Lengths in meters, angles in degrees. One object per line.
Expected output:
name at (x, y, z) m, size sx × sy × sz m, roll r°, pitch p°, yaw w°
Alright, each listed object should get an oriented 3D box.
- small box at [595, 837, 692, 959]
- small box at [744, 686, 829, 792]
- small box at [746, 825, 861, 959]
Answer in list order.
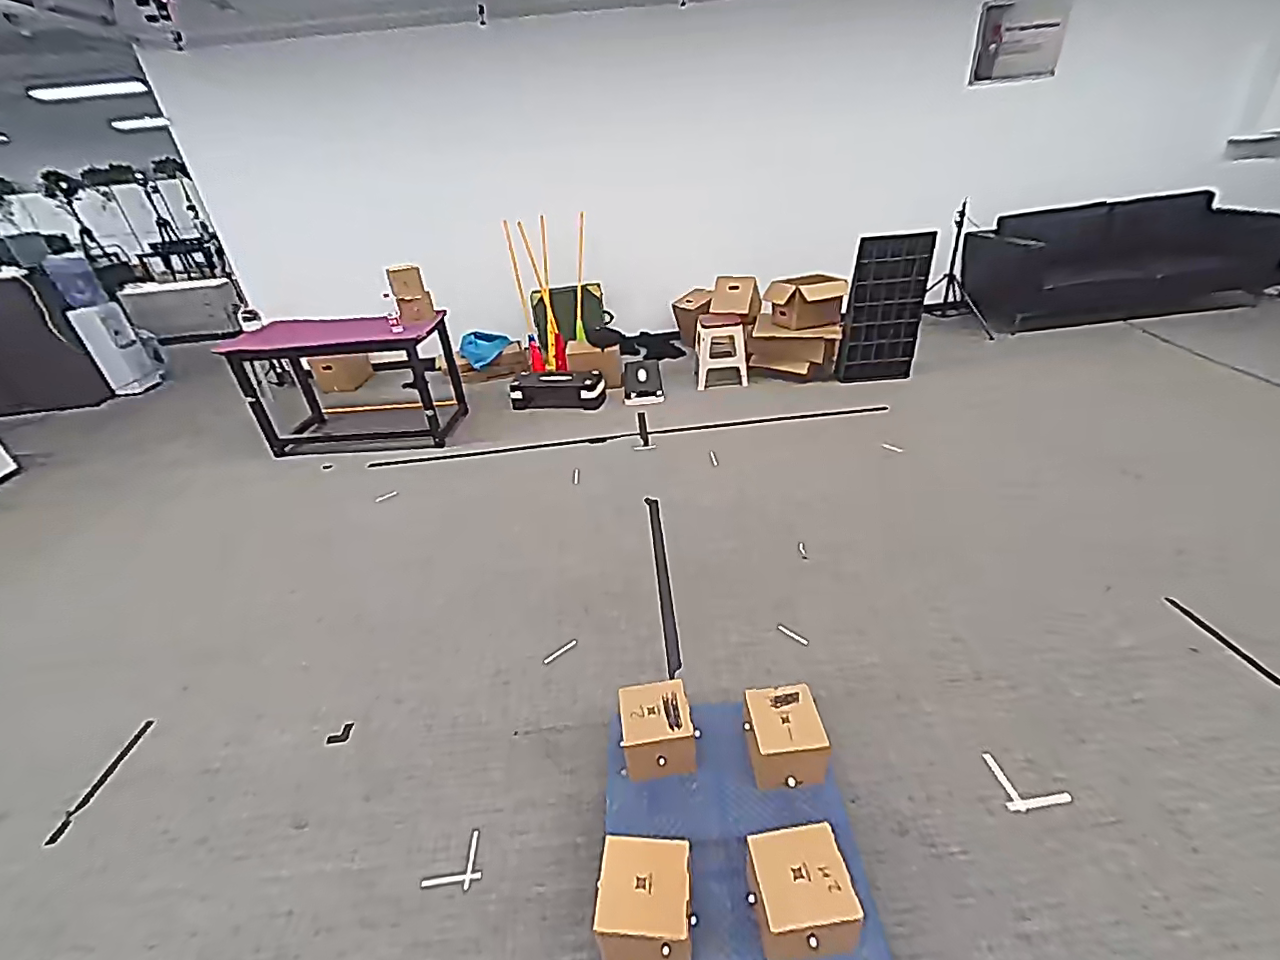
small box at (0.014, 0.861, 1.098) m, size 0.179 × 0.176 × 0.168 m, roll 0°, pitch 31°, yaw 6°
small box at (0.362, 0.656, 1.372) m, size 0.168 × 0.176 × 0.179 m, roll -6°, pitch 32°, yaw 0°
small box at (0.319, 0.834, 1.088) m, size 0.179 × 0.176 × 0.168 m, roll -7°, pitch 31°, yaw -2°
